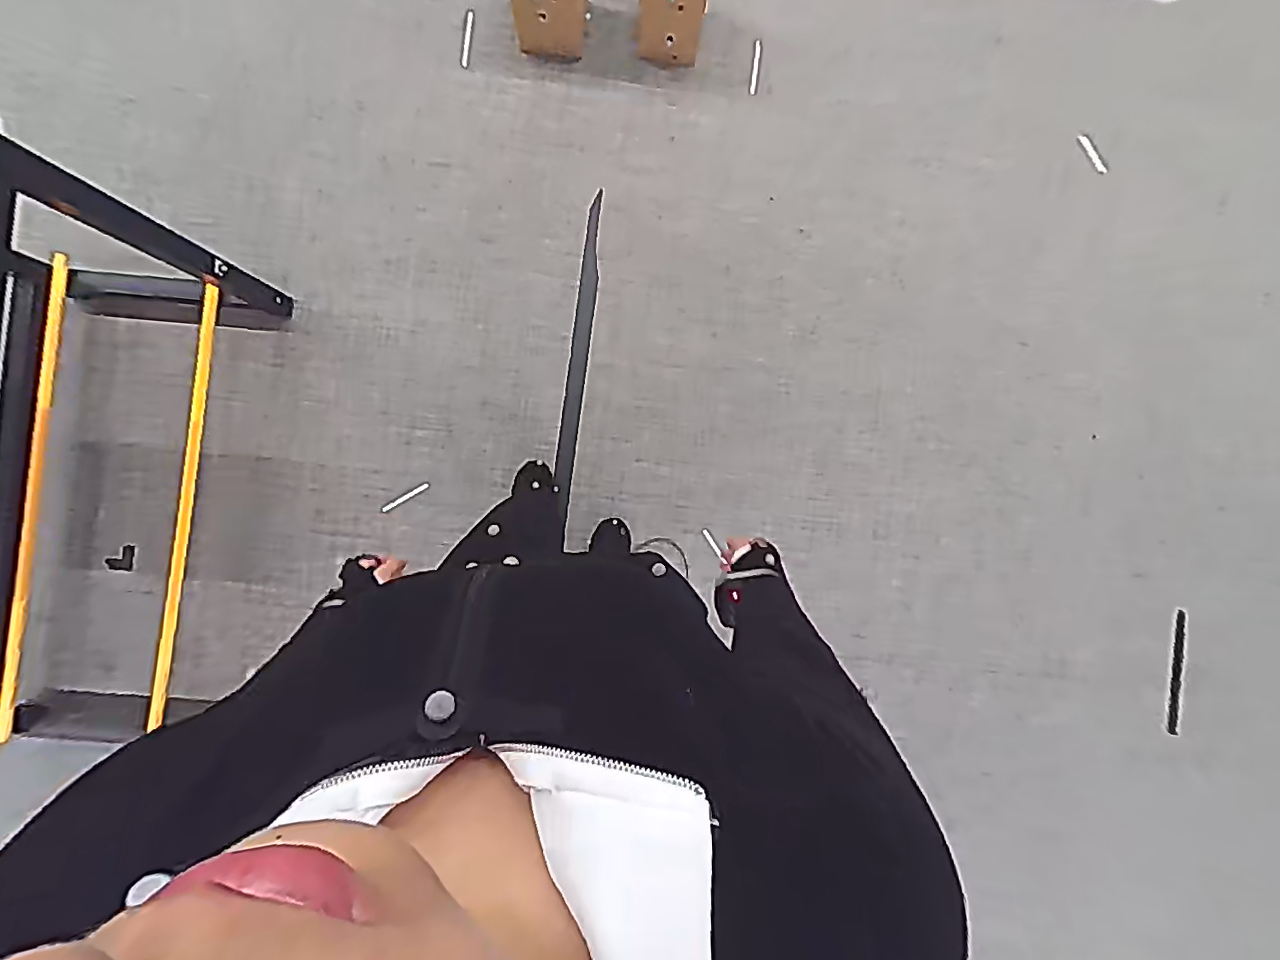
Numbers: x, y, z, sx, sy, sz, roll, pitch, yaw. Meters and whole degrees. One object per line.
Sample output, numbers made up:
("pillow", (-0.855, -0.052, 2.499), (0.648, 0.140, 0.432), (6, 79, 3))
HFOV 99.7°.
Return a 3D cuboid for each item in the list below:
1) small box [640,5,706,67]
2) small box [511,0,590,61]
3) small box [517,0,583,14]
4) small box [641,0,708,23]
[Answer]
("small box", (0.091, -1.248, 1.437), (0.168, 0.176, 0.179), (7, 90, -3))
("small box", (-0.229, -1.249, 1.419), (0.179, 0.176, 0.168), (5, 90, -3))
("small box", (-0.218, -1.247, 1.257), (0.168, 0.176, 0.179), (3, 91, -1))
("small box", (0.095, -1.243, 1.271), (0.168, 0.176, 0.179), (8, 90, -2))
